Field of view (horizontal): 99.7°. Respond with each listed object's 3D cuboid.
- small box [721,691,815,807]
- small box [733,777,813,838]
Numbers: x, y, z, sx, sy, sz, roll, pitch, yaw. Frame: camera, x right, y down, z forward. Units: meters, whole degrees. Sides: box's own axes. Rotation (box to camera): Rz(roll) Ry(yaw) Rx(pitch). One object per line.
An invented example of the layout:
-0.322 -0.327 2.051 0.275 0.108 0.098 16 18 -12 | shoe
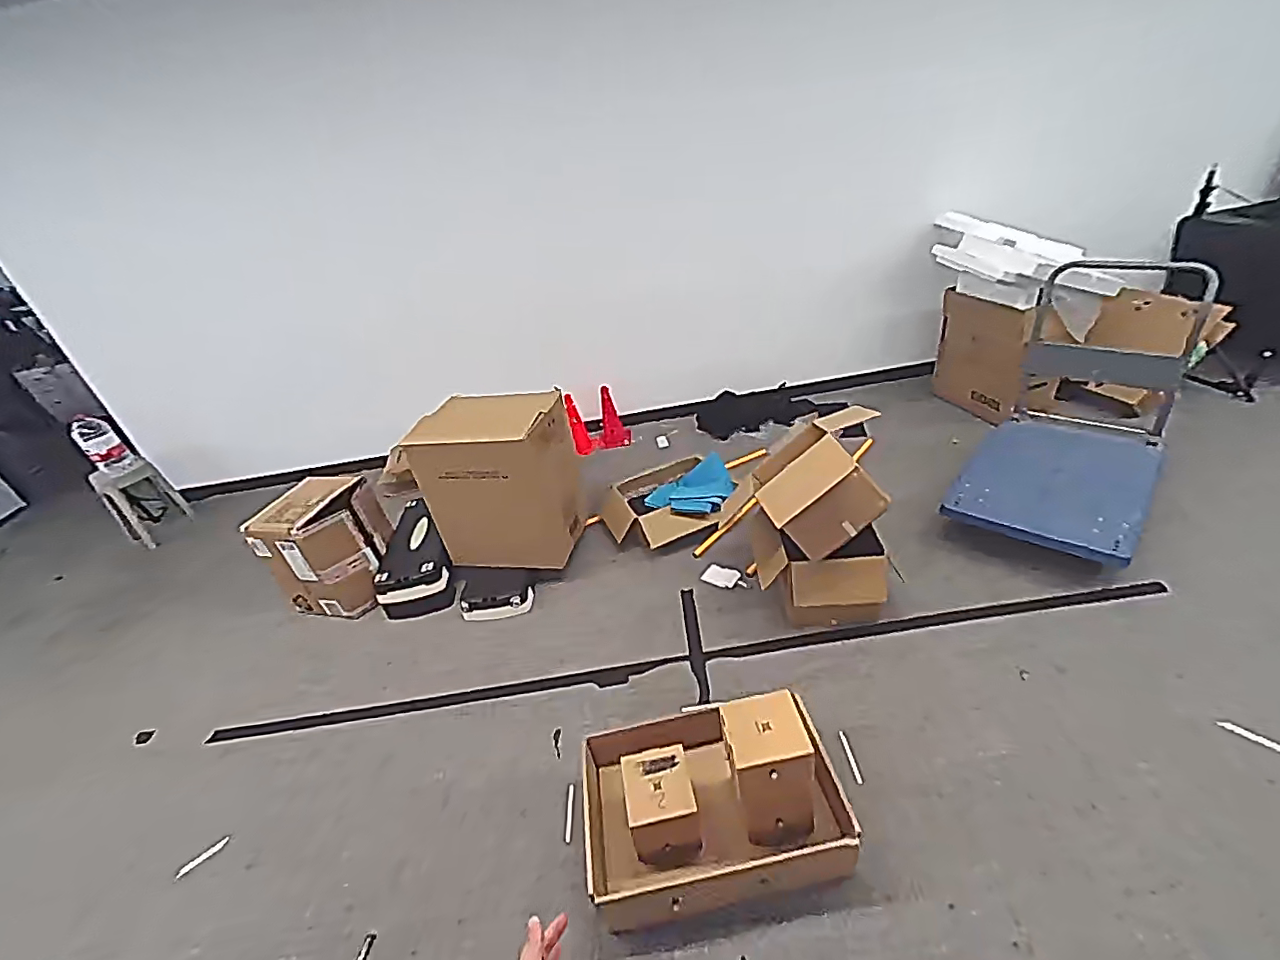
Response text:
0.298 0.633 1.274 0.179 0.176 0.168 -12 32 0 | small box
0.328 0.767 1.361 0.168 0.176 0.179 -11 31 -1 | small box
